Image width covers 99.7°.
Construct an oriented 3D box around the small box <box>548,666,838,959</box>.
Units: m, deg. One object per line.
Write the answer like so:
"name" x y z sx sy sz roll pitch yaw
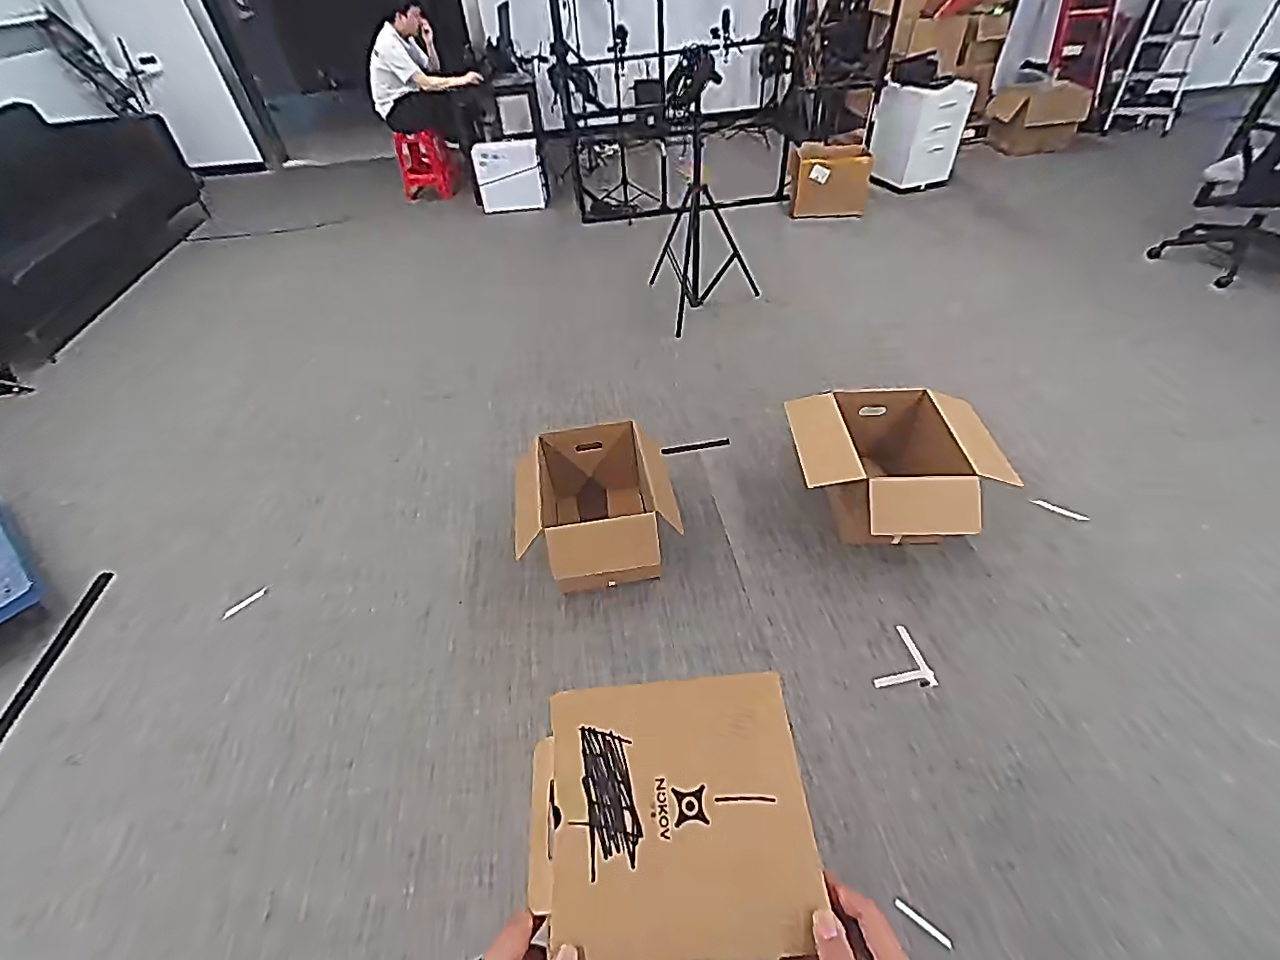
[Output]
"small box" 0.031 0.263 0.428 0.179 0.176 0.168 -6 54 -1
